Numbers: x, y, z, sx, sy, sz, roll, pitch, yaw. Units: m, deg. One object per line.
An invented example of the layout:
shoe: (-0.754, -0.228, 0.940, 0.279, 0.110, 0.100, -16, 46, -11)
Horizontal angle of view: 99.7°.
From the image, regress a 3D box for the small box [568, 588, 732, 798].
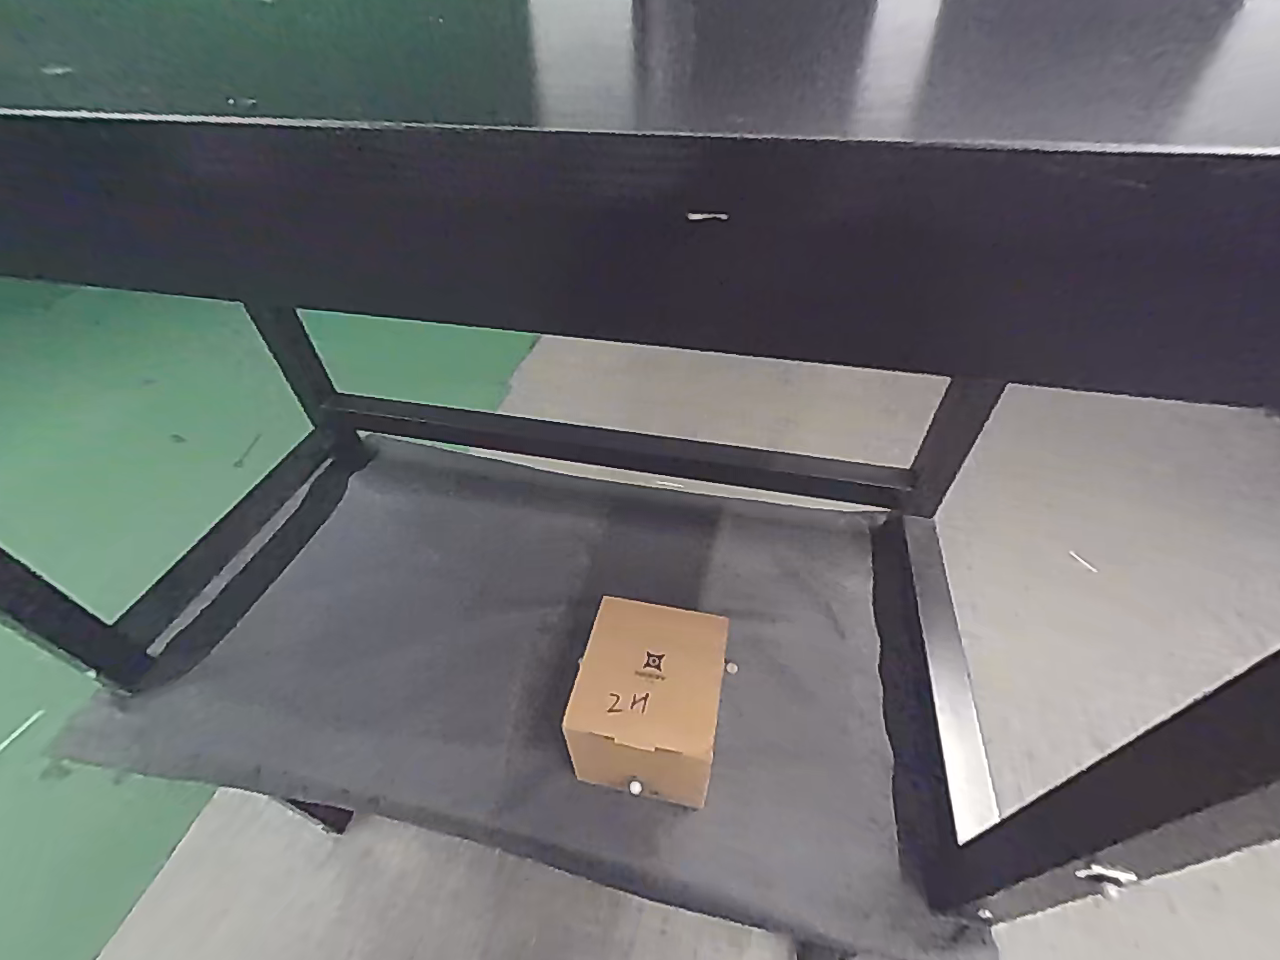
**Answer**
small box: (0.019, 0.269, 0.689, 0.168, 0.176, 0.179, 8, 44, 11)
